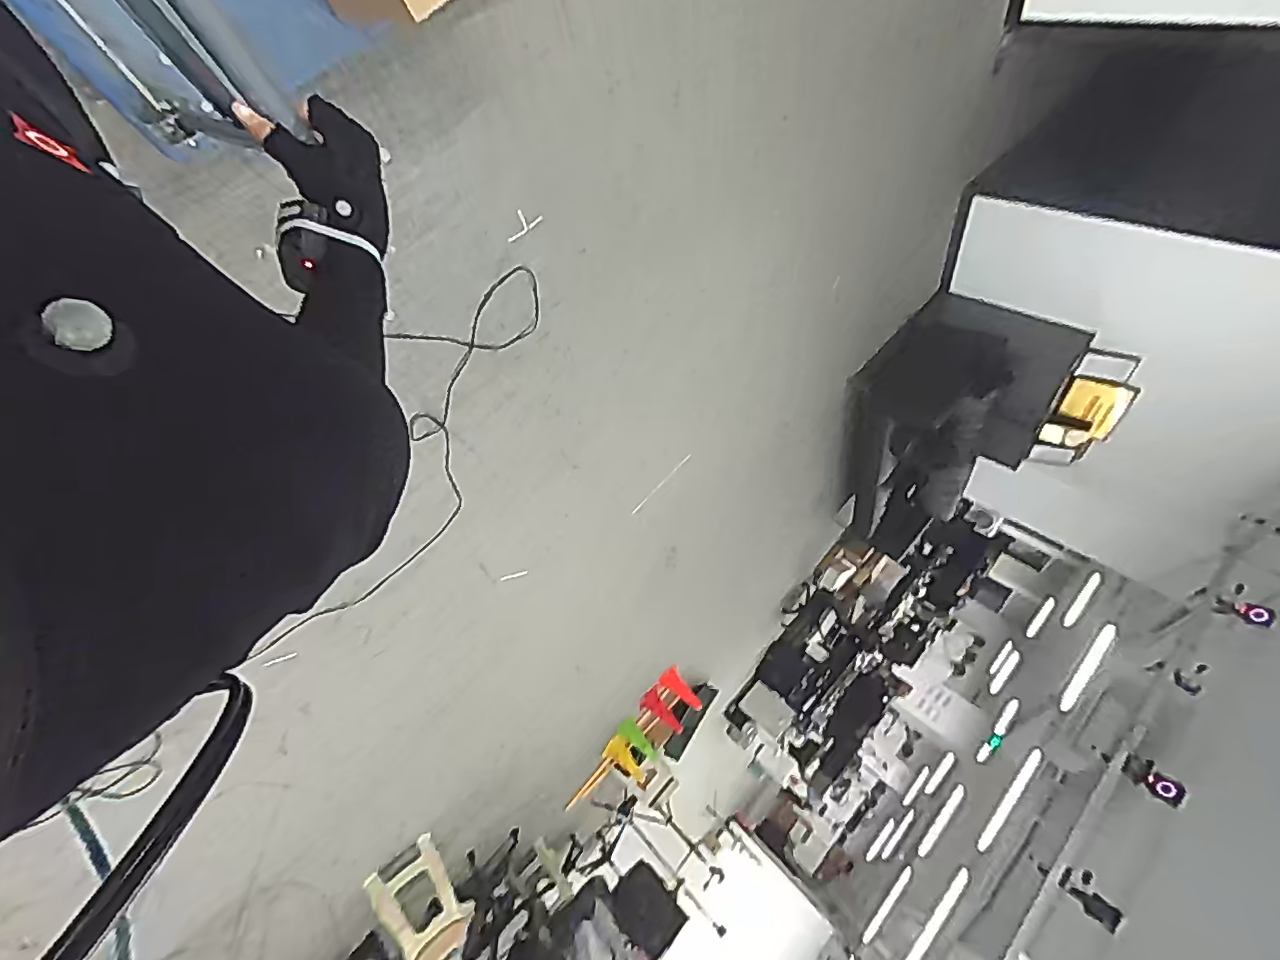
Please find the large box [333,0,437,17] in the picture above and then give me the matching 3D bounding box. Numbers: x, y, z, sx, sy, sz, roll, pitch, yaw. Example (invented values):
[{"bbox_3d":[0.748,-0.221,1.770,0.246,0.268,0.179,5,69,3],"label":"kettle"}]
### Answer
[{"bbox_3d":[-0.396,-0.962,0.749,0.320,0.320,0.408,-48,145,-11],"label":"large box"}]
